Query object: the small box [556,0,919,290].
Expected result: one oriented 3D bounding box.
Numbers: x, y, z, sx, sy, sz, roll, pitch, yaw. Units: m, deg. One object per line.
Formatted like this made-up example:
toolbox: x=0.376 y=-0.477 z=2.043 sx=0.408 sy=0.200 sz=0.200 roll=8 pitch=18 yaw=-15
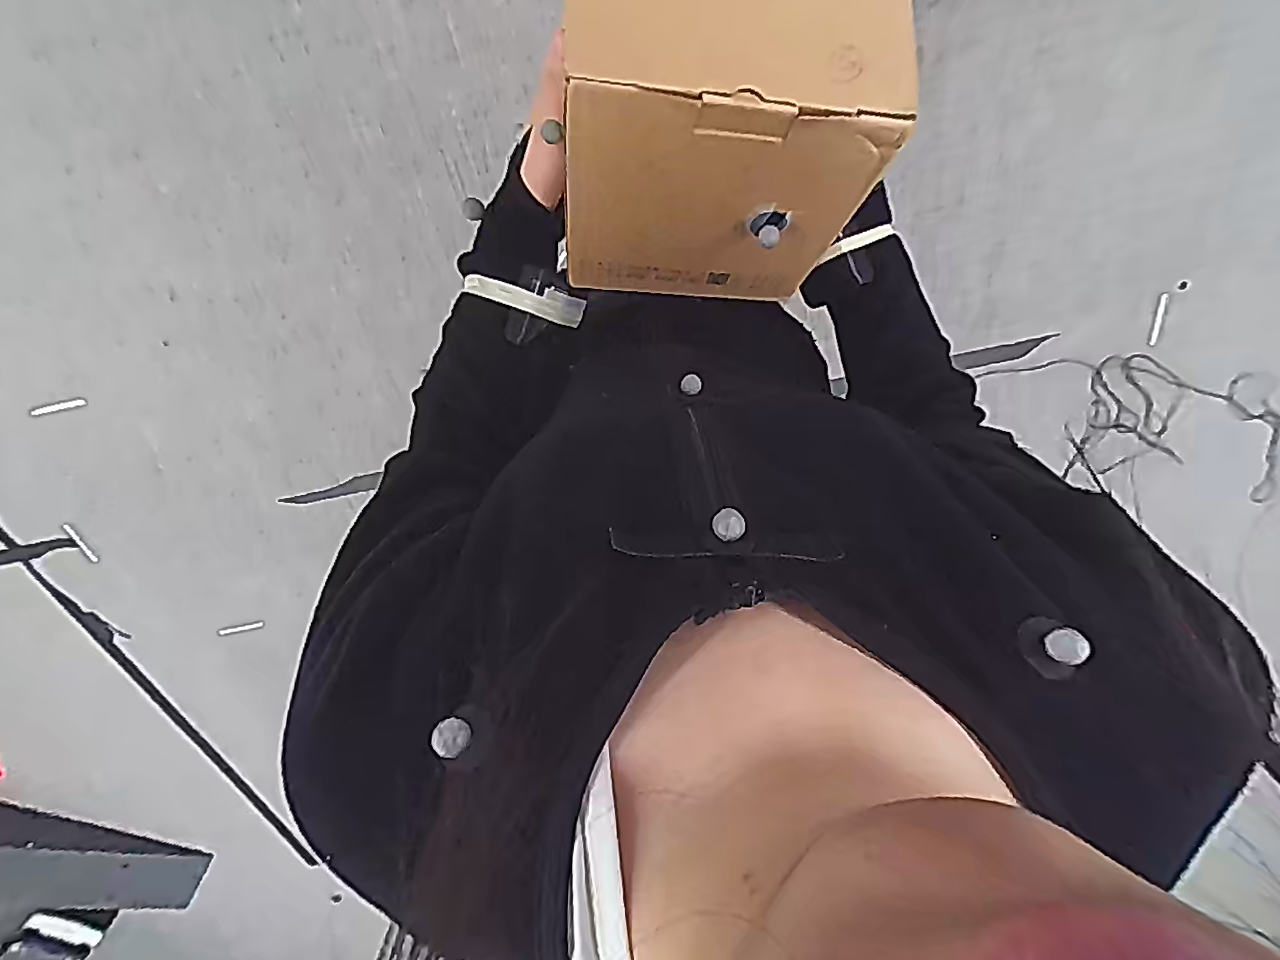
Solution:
small box: x=0.038 y=-0.238 z=0.330 sx=0.168 sy=0.176 sz=0.179 roll=2 pitch=79 yaw=-7
